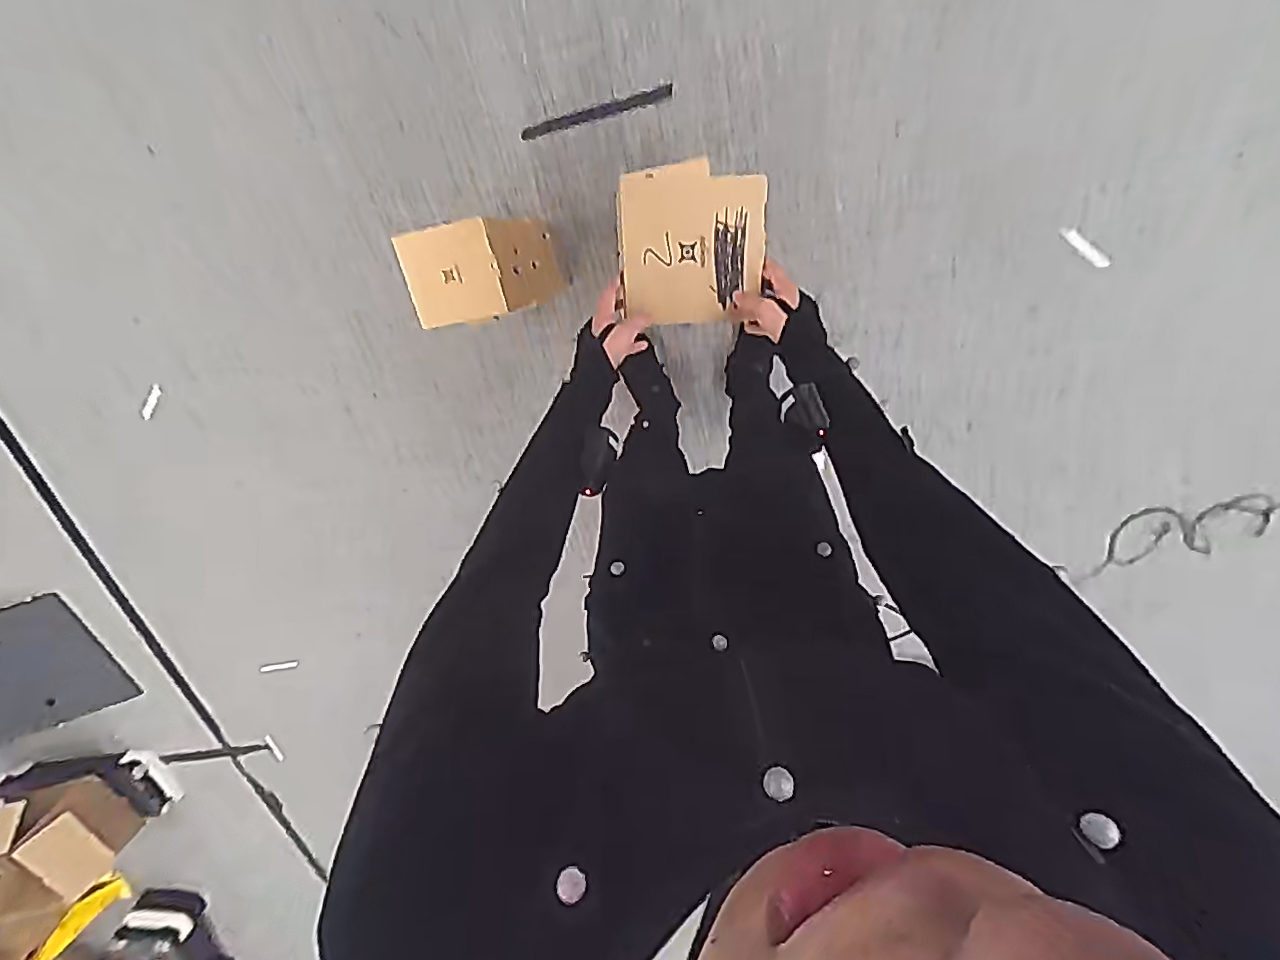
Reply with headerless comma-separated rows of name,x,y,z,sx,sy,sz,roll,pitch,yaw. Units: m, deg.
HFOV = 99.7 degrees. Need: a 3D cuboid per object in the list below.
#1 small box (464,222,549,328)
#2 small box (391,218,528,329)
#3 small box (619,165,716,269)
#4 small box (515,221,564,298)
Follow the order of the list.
small box,-0.317,-0.455,1.200,0.168,0.176,0.179,-14,113,9
small box,-0.338,-0.398,1.049,0.179,0.176,0.168,-9,113,7
small box,0.057,-0.550,1.142,0.179,0.176,0.168,-9,112,5
small box,-0.304,-0.526,1.347,0.168,0.176,0.179,-16,112,9
